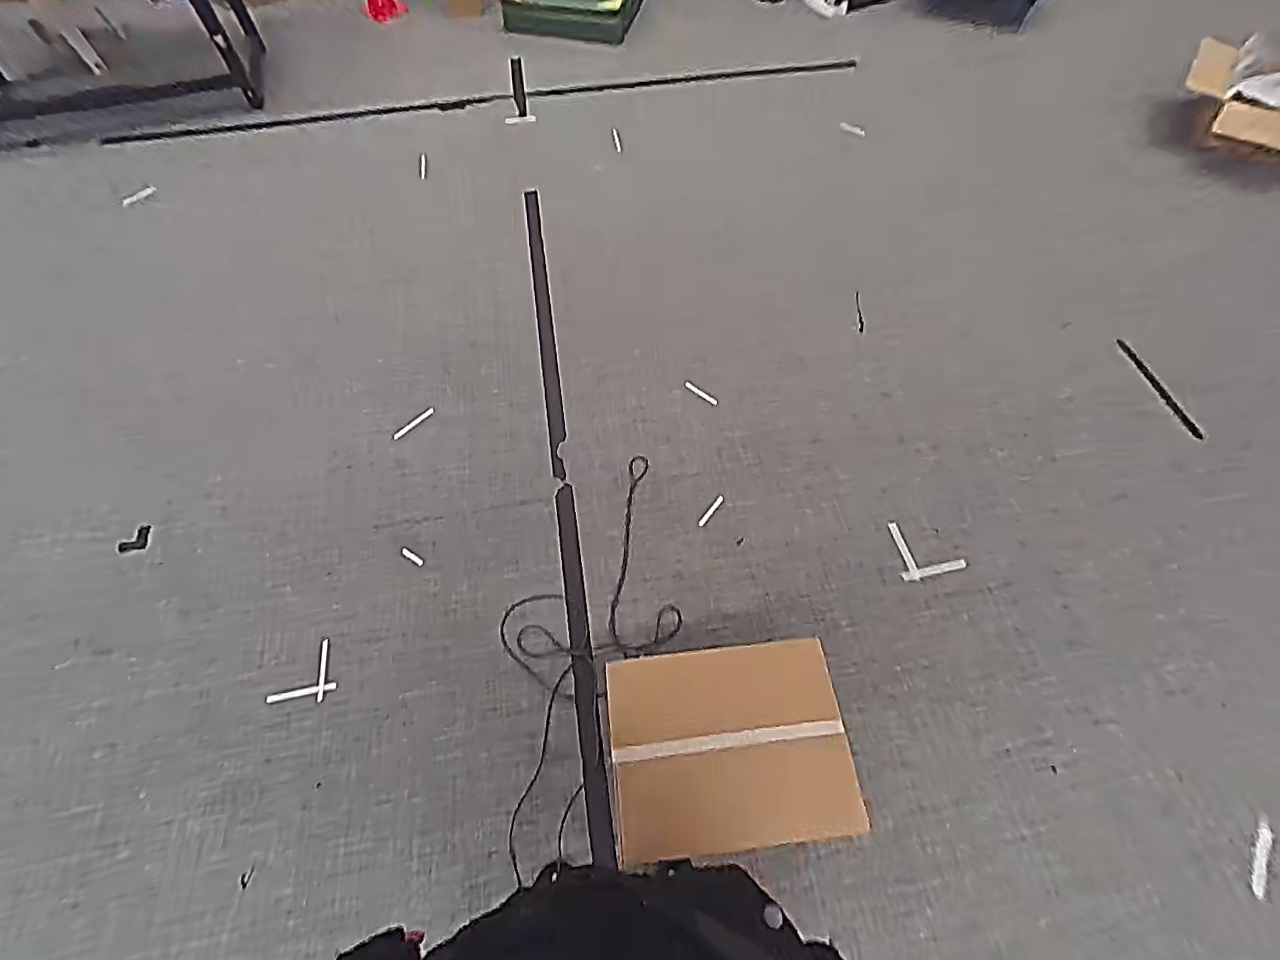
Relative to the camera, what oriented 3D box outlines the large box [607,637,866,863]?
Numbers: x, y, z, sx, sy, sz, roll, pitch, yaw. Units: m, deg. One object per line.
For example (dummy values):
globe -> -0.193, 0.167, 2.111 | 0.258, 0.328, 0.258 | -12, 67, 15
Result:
large box -> 0.154, 0.523, 1.066 | 0.408, 0.320, 0.320 | -6, 62, -3
